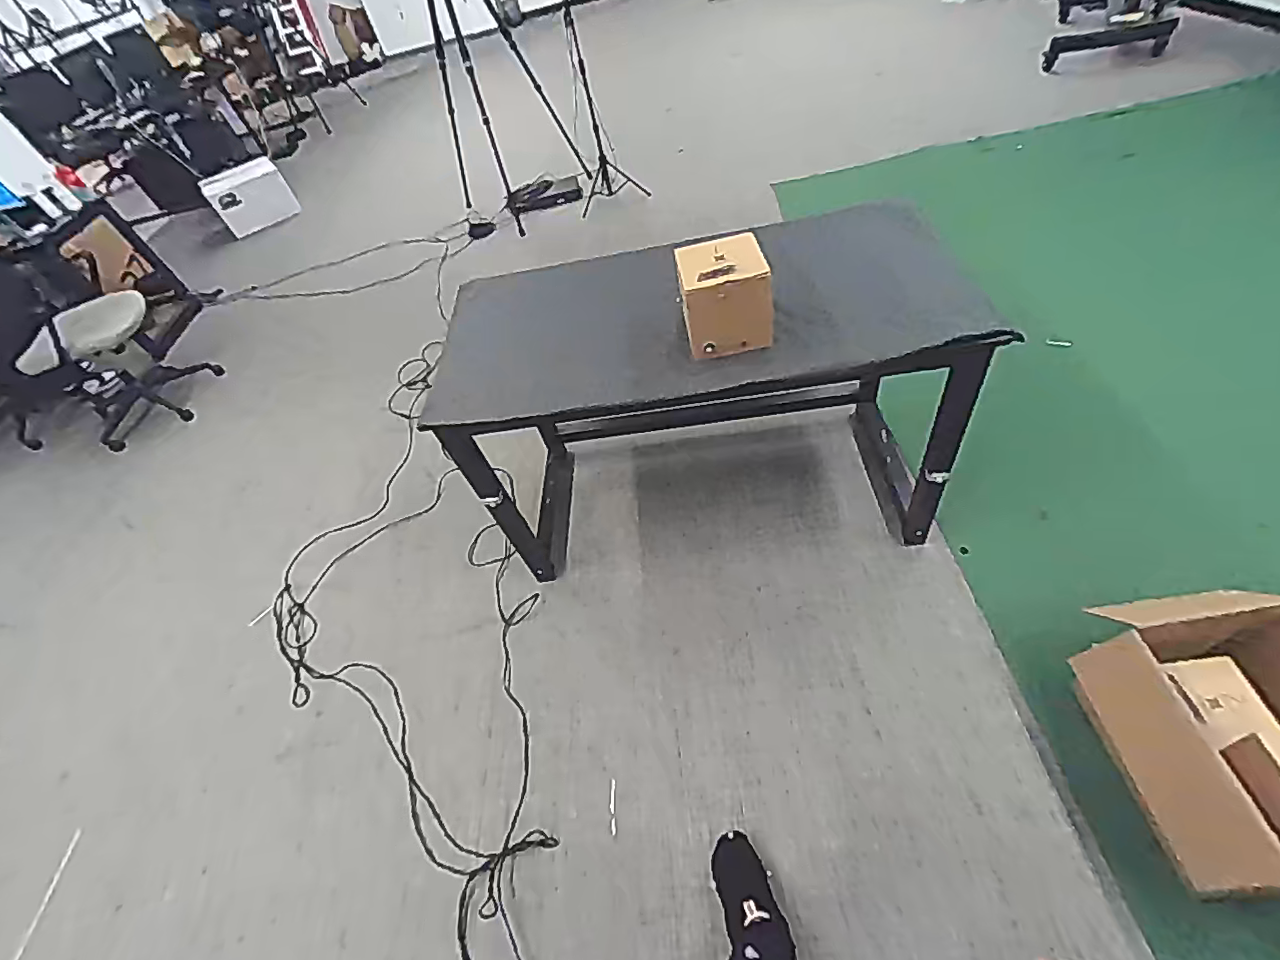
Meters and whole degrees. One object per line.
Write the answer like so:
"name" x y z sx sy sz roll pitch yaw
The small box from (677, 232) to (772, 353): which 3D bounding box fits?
"small box" 0.177 -0.381 1.123 0.168 0.176 0.179 -10 48 6
